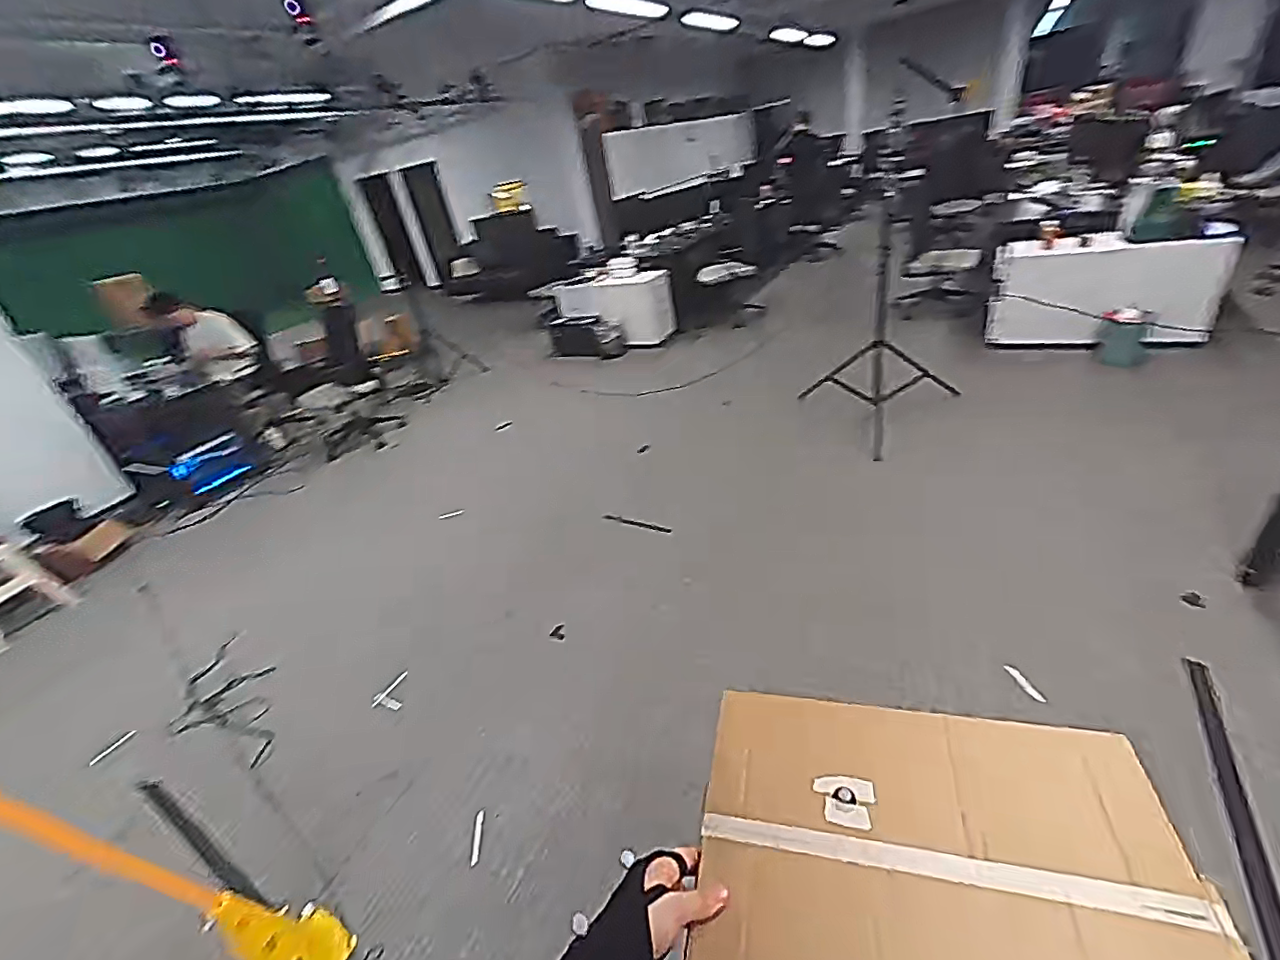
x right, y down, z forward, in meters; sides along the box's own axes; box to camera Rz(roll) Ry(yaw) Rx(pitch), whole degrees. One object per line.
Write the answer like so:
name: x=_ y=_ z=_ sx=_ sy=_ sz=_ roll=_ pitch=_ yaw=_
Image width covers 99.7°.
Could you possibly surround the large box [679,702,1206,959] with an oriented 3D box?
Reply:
large box: x=0.277 y=0.473 z=0.570 sx=0.408 sy=0.320 sz=0.320 roll=-2 pitch=33 yaw=18
